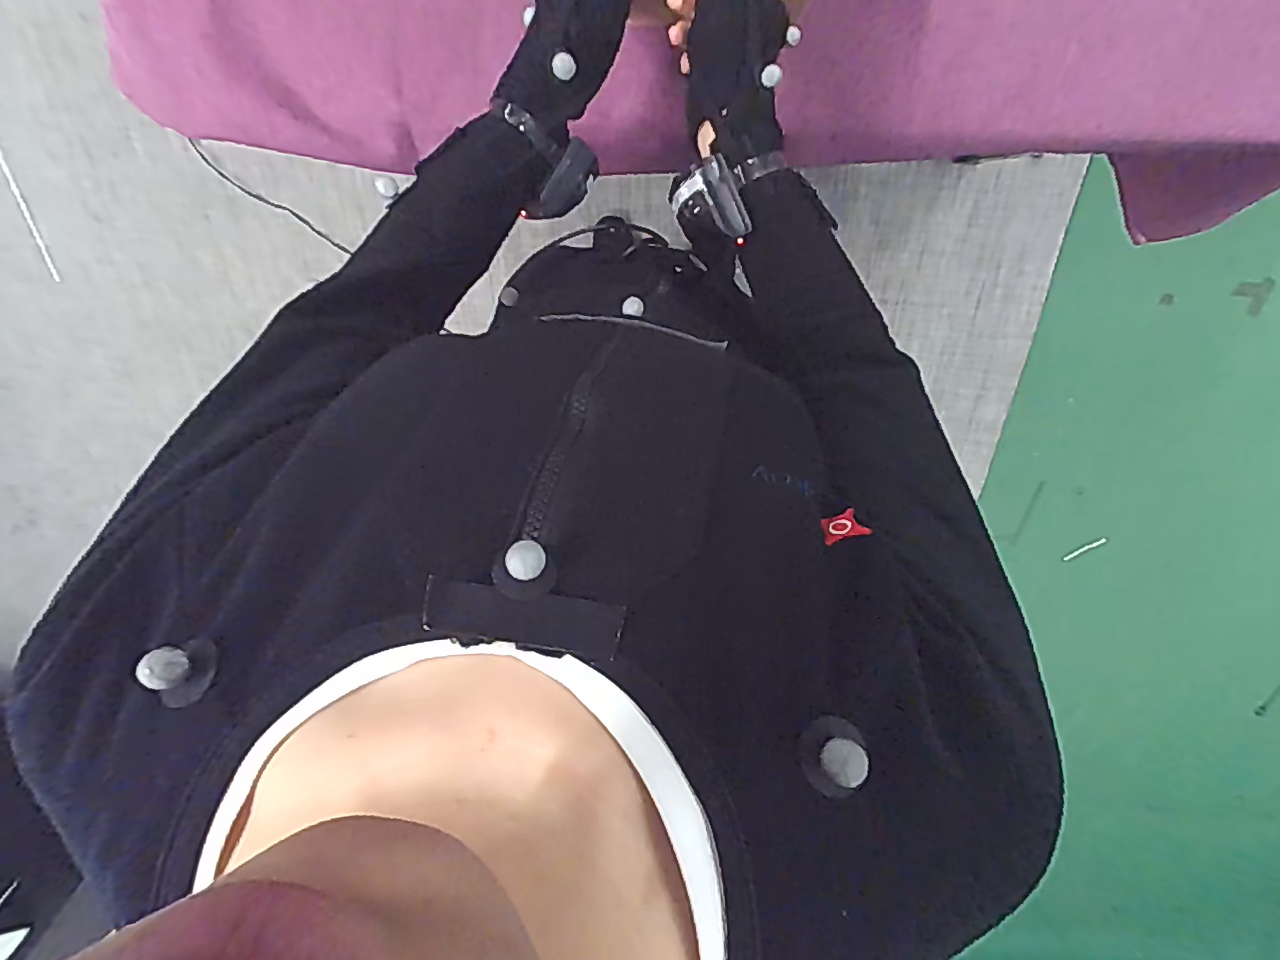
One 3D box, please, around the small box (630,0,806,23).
[{"bbox_3d":[0.068,-0.479,0.411,0.168,0.176,0.179,3,117,3],"label":"small box"}]
